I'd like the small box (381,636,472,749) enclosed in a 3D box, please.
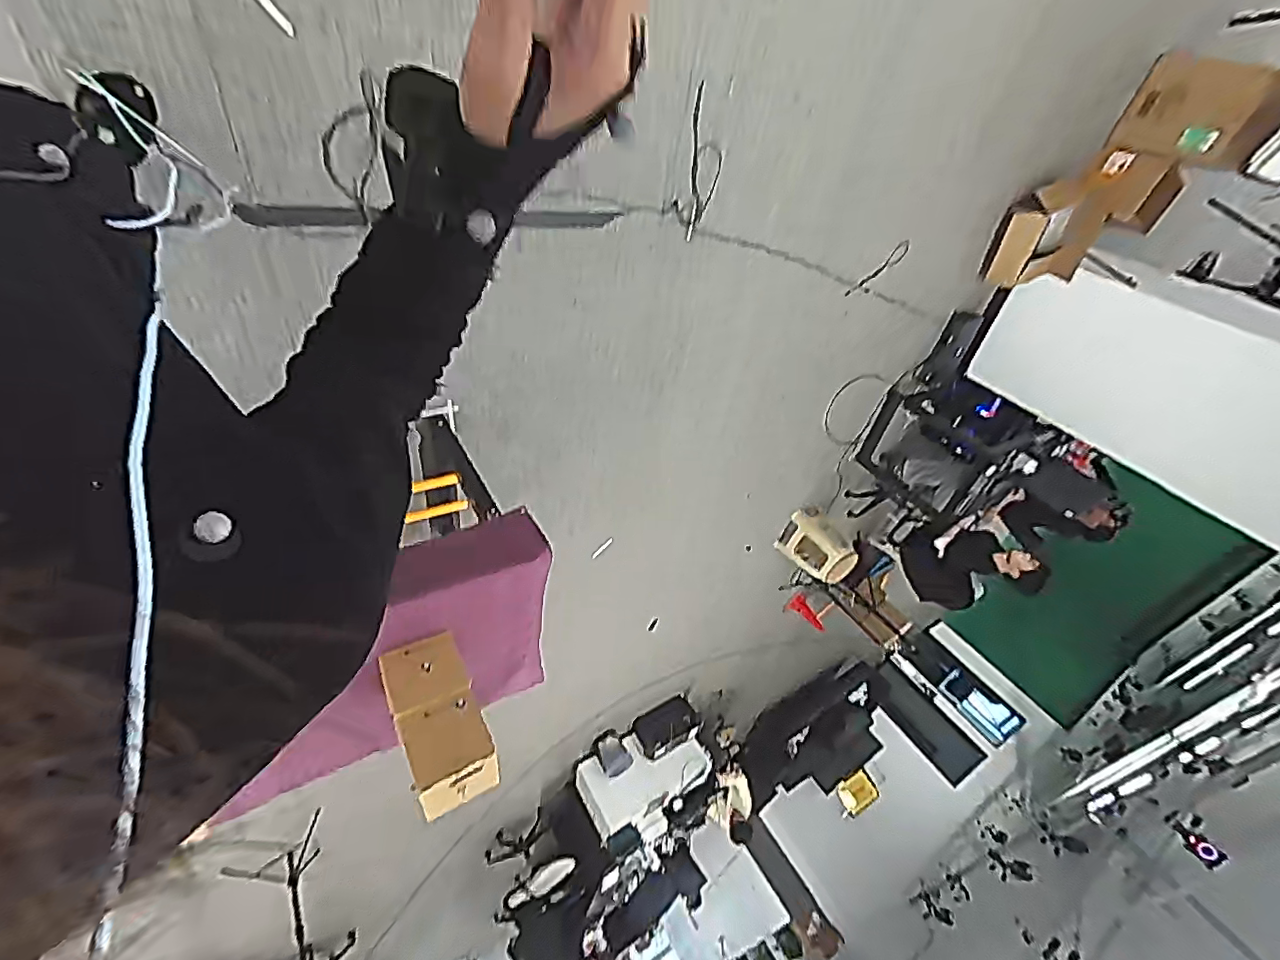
[{"bbox_3d":[-0.516,0.502,1.309,0.168,0.176,0.179,-14,136,-31],"label":"small box"}]

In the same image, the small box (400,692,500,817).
[{"bbox_3d":[-0.427,0.609,1.221,0.168,0.176,0.179,-18,138,-28],"label":"small box"}]

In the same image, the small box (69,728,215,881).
[{"bbox_3d":[-0.945,0.610,1.036,0.168,0.176,0.179,-15,137,-32],"label":"small box"}]
